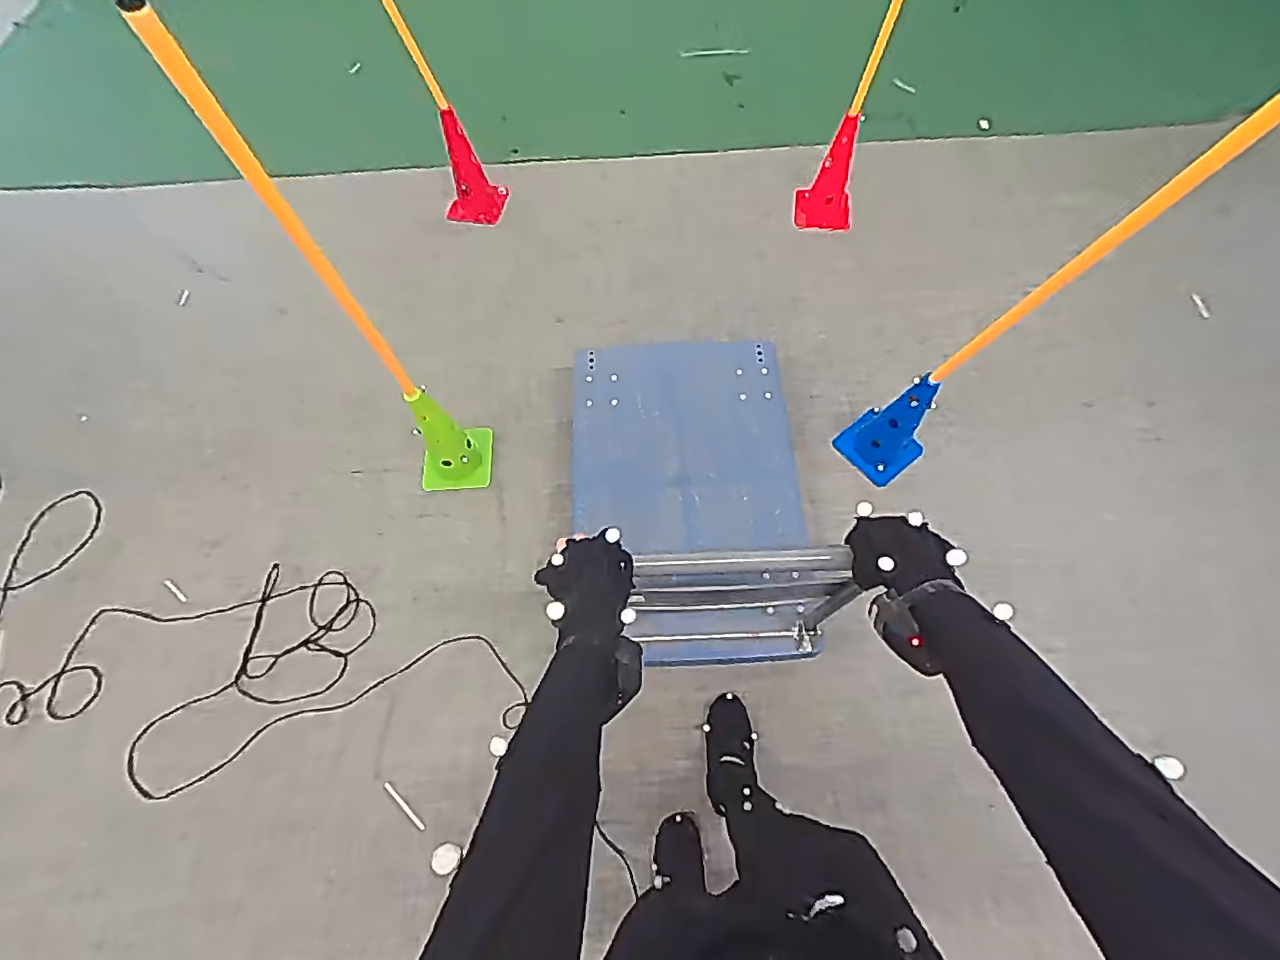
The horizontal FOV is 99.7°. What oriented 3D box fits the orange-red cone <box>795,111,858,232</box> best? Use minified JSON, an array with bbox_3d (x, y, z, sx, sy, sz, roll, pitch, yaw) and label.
[{"bbox_3d":[0.667,-1.058,1.833,0.198,0.360,0.199,7,67,6],"label":"orange-red cone"}]
